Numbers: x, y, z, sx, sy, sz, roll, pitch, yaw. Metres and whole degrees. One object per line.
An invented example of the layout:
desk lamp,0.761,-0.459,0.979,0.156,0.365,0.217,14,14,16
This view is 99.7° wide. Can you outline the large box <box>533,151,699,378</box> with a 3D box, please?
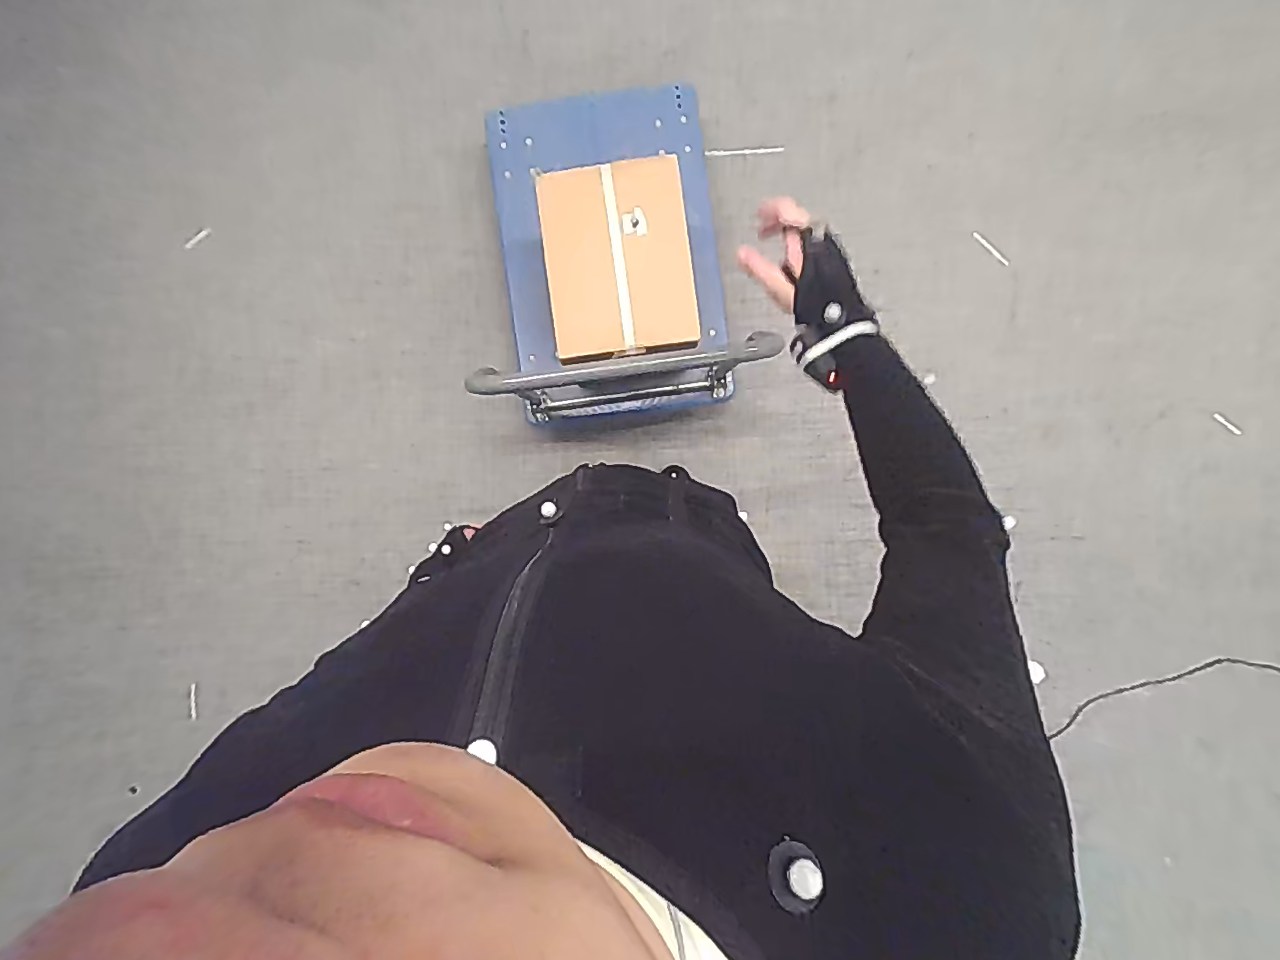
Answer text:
large box,-0.048,-0.492,1.315,0.320,0.320,0.408,-8,91,0
